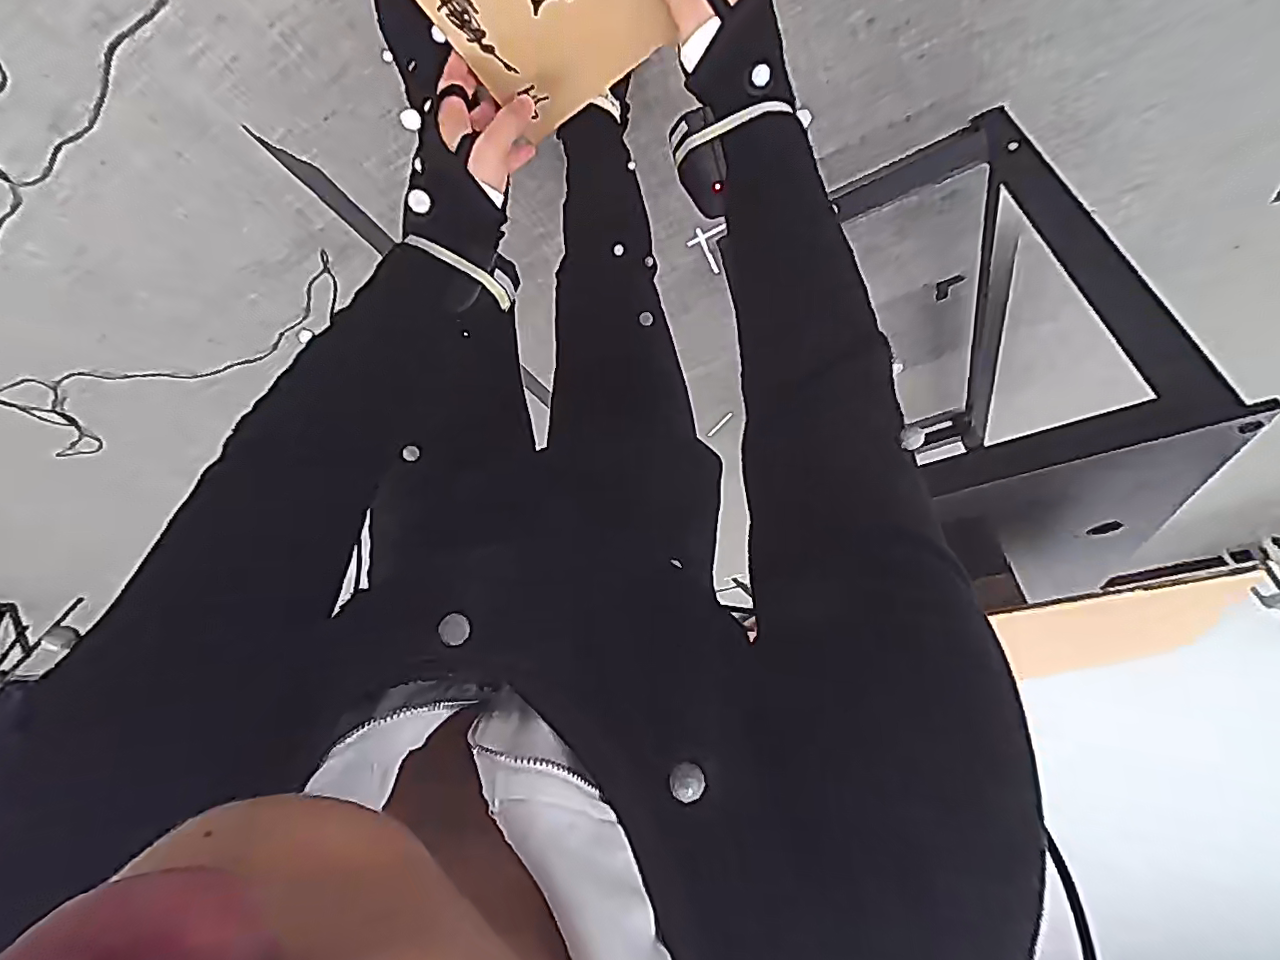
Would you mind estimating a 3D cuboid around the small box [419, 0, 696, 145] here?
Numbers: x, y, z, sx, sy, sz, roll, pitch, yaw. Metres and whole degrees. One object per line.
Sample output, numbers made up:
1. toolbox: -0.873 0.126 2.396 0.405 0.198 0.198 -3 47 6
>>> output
1. small box: -0.078 -0.438 0.446 0.179 0.176 0.168 -23 146 23
